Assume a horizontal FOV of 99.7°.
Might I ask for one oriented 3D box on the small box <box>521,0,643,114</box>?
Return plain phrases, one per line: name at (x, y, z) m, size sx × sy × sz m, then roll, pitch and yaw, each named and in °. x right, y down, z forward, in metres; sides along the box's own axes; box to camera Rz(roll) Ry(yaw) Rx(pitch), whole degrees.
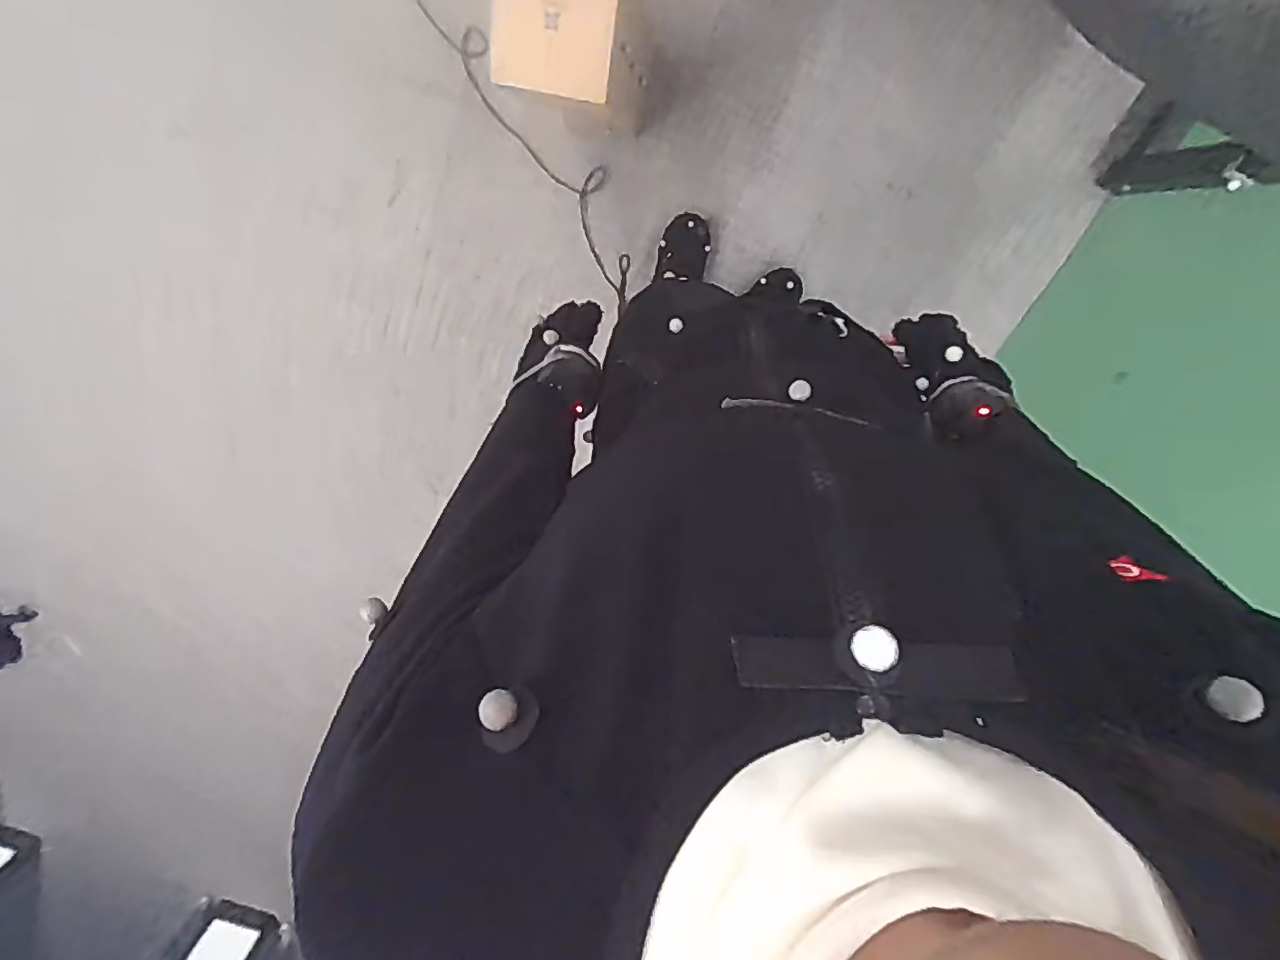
small box at (-0.092, -0.737, 0.910) m, size 0.168 × 0.176 × 0.179 m, roll 10°, pitch 116°, yaw 4°
